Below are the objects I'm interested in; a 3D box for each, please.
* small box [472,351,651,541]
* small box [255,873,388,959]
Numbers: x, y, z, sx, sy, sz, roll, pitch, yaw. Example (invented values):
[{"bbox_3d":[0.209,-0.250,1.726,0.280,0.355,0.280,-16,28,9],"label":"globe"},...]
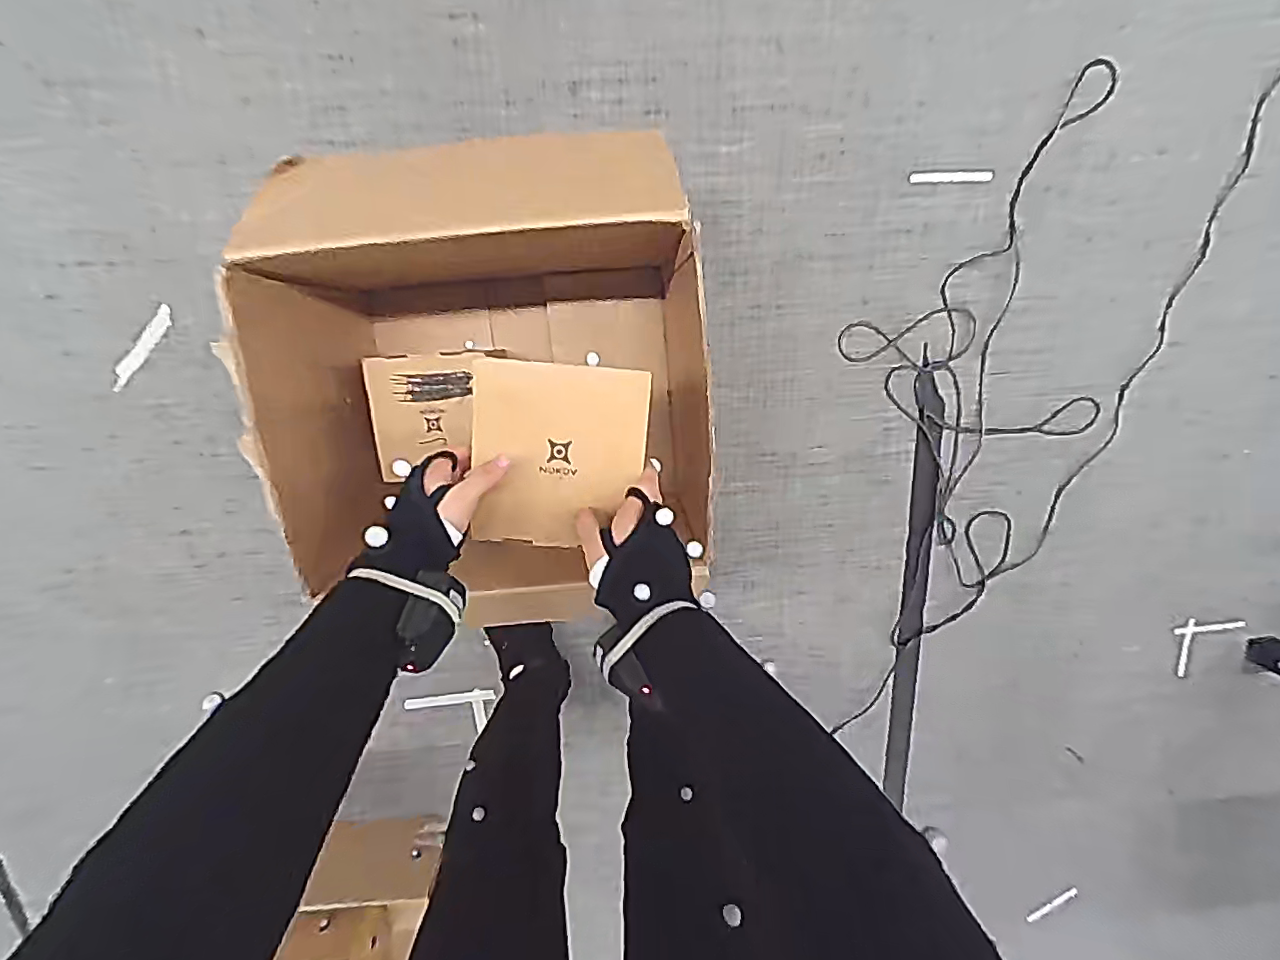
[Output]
[{"bbox_3d":[-0.081,-0.043,0.600,0.168,0.176,0.179,4,100,-3],"label":"small box"},{"bbox_3d":[-0.592,0.882,1.020,0.179,0.176,0.168,-1,105,-6],"label":"small box"}]
